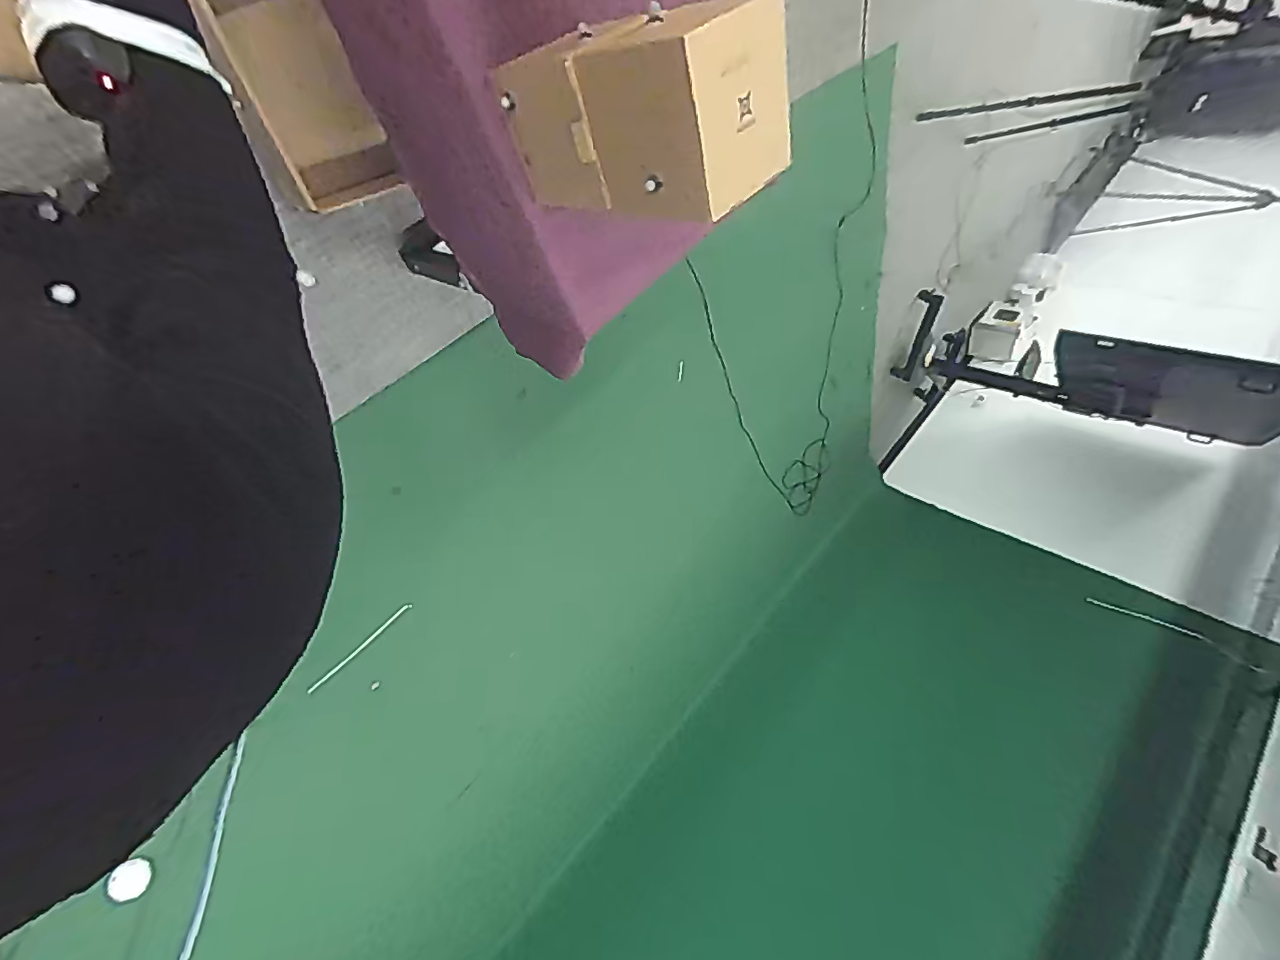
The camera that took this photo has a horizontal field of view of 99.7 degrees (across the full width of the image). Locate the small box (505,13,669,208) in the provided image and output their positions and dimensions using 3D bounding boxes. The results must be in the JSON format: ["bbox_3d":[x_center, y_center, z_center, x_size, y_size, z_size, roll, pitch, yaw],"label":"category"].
[{"bbox_3d":[-0.058,-0.491,0.733,0.179,0.176,0.168,-45,139,-22],"label":"small box"}]

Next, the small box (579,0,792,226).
[{"bbox_3d":[0.058,-0.428,0.636,0.168,0.176,0.179,-44,138,-23],"label":"small box"}]
